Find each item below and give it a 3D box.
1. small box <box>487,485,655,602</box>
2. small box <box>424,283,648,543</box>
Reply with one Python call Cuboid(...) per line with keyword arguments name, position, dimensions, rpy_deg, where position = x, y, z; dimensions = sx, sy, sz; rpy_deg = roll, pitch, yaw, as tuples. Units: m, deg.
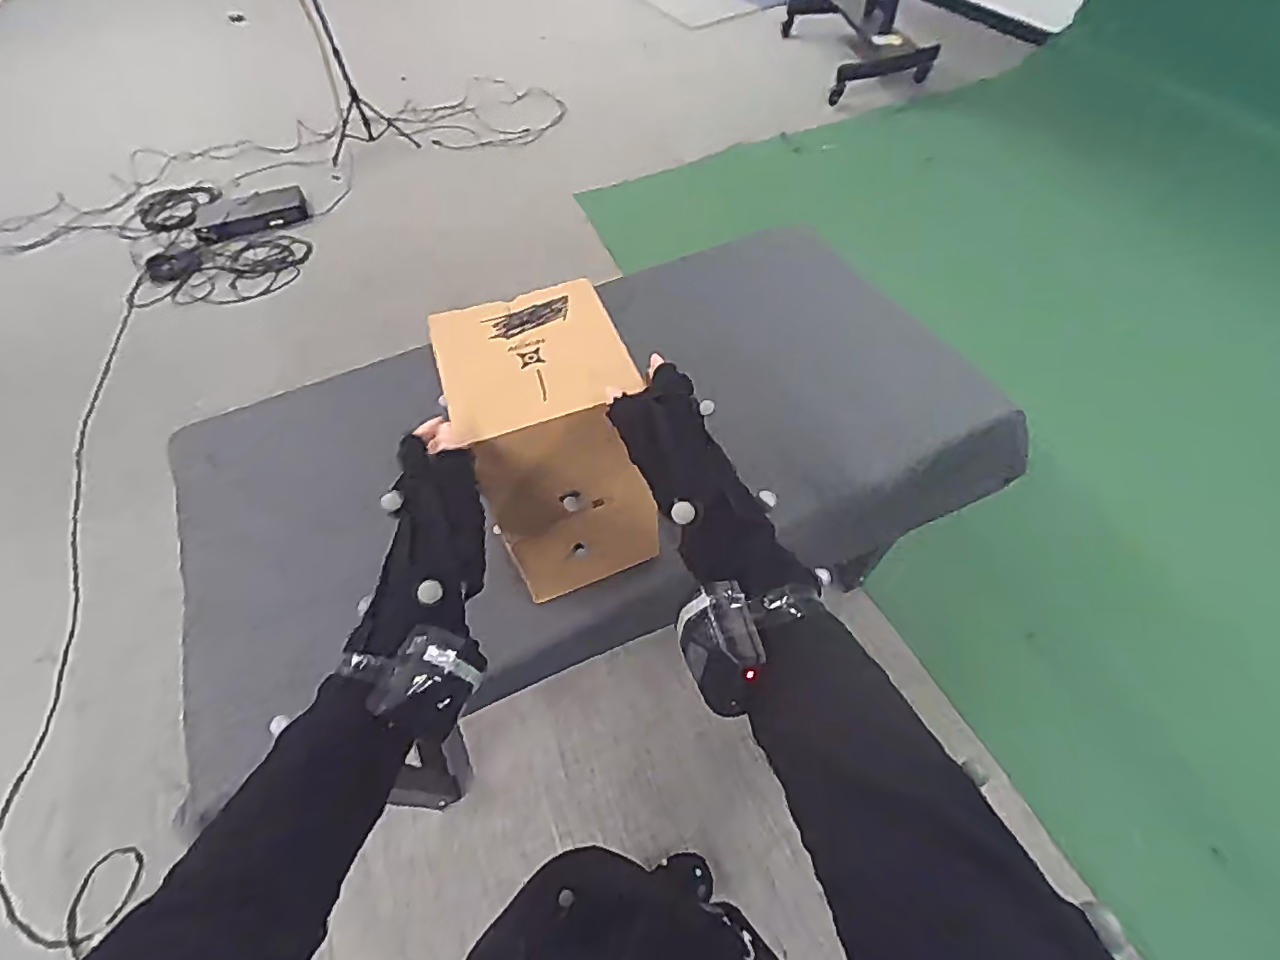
Cuboid(name="small box", position=(-0.092, 0.030, 0.691), dimensions=(0.179, 0.176, 0.168), rpy_deg=(-21, 57, -10))
Cuboid(name="small box", position=(-0.100, -0.066, 0.558), dimensions=(0.168, 0.176, 0.179), rpy_deg=(-21, 55, -11))
